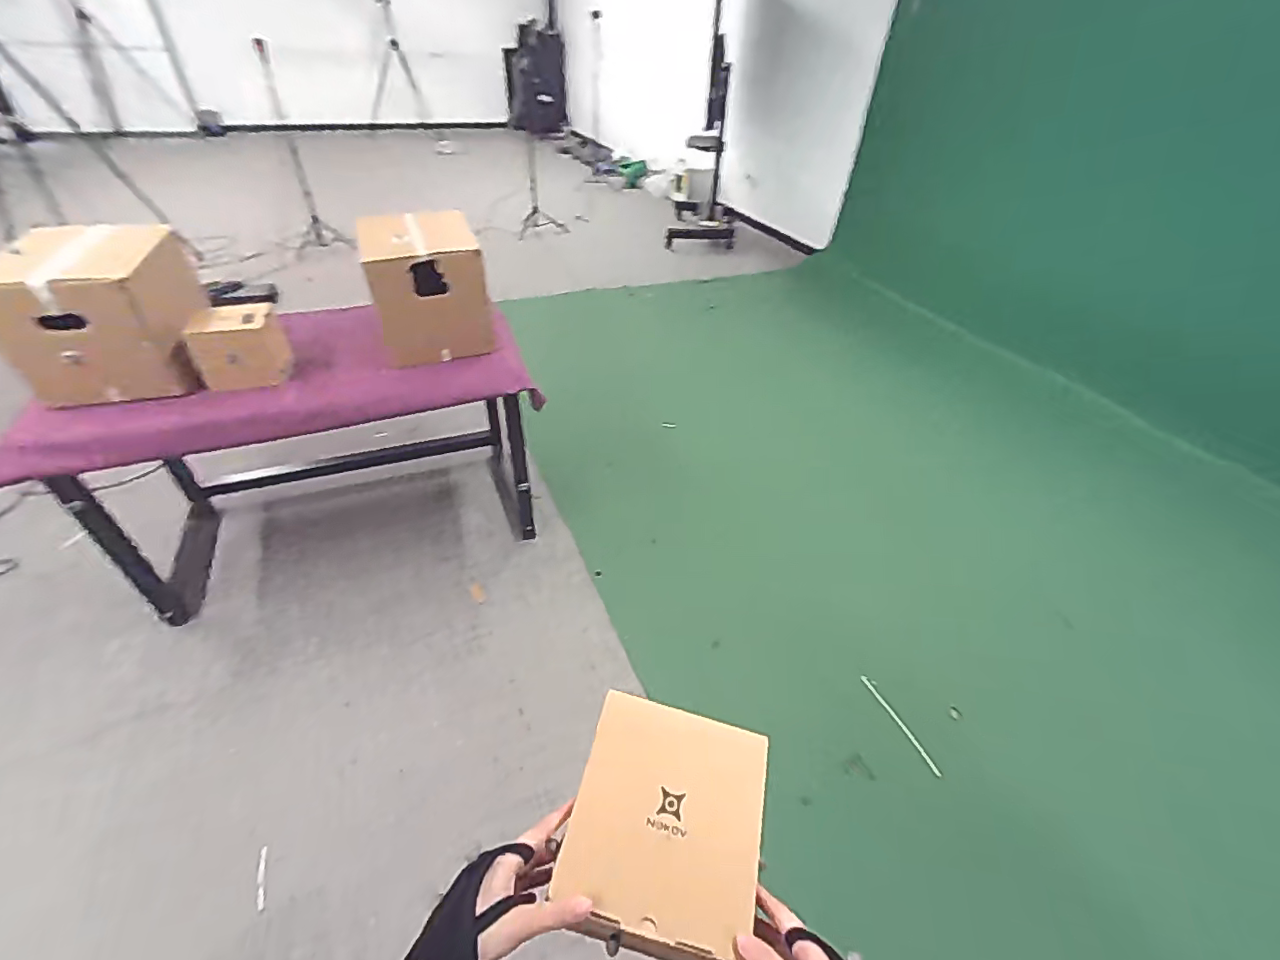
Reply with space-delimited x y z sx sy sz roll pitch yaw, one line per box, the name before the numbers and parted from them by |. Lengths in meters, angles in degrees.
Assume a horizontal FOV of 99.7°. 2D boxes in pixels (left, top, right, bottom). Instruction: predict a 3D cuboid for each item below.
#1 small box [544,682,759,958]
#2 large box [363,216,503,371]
small box | 0.008 0.334 0.532 0.168 0.176 0.179 15 47 3
large box | -0.634 -0.586 1.668 0.320 0.320 0.408 -15 44 -18
